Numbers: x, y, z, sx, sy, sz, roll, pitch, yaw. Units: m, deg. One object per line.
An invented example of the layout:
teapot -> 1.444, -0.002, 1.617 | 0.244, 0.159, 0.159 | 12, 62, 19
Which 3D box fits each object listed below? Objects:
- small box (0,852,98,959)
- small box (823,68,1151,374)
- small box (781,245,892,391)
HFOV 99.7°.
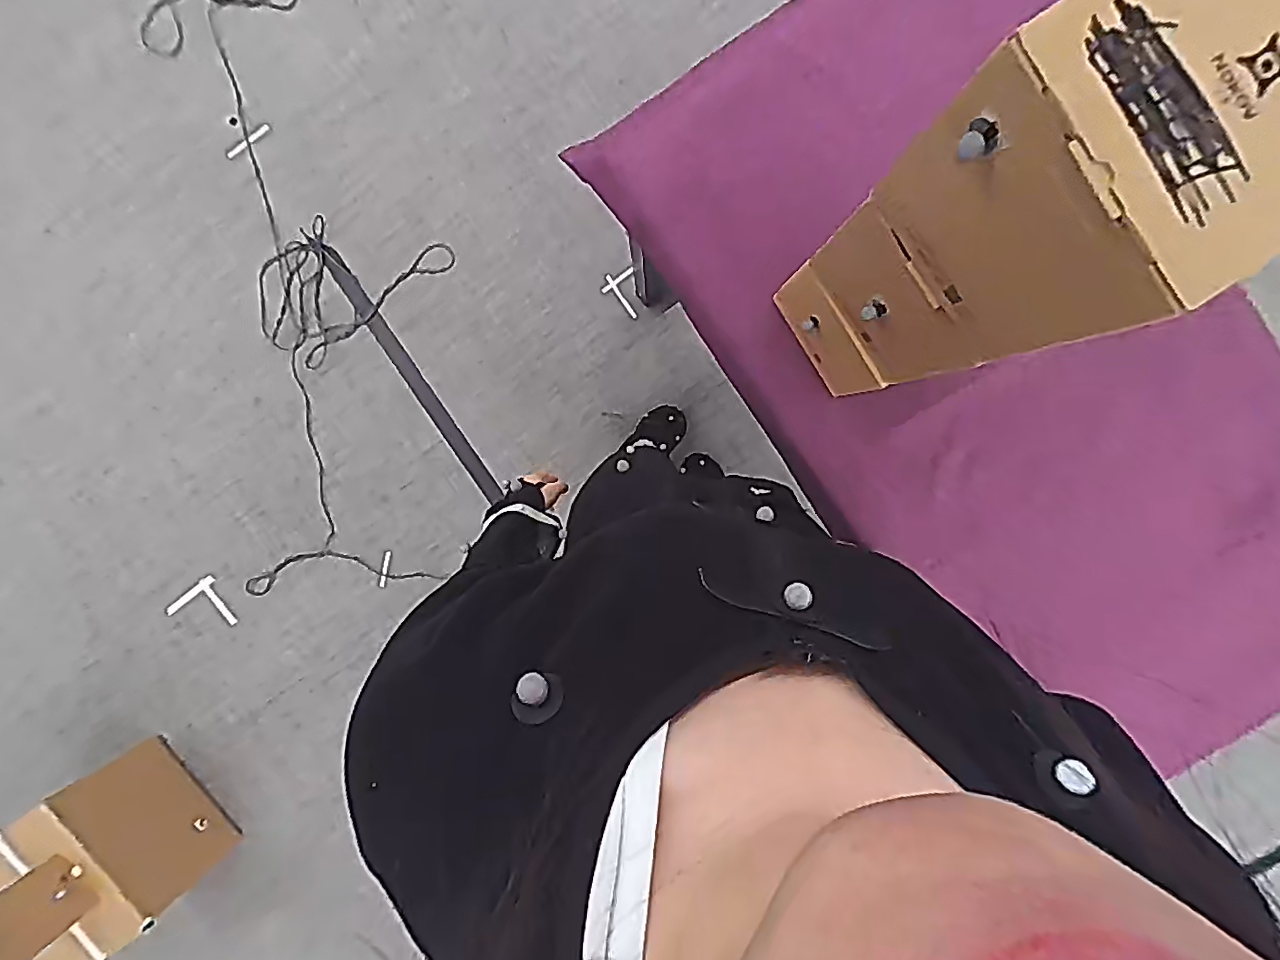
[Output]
small box -> -1.442, 1.026, 1.252 | 0.179, 0.176, 0.168 | -37, 94, 3
small box -> 0.299, -0.219, 0.517 | 0.179, 0.176, 0.168 | -35, 94, 3
small box -> 0.297, -0.227, 0.680 | 0.179, 0.176, 0.168 | -33, 94, 3
